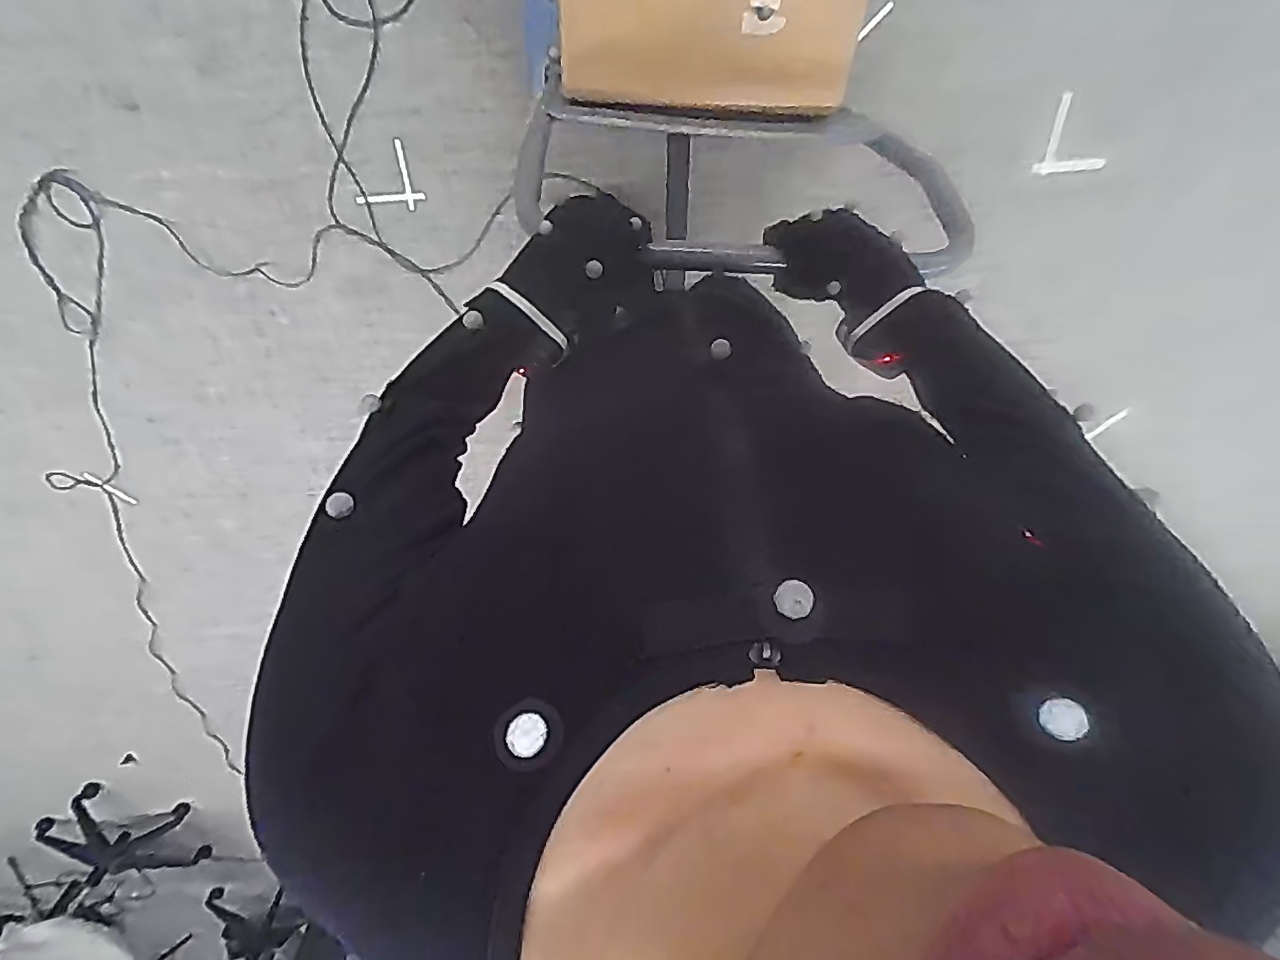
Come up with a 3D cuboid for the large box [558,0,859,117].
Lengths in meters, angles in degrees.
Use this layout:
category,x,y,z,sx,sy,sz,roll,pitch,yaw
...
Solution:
category,x,y,z,sx,sy,sz,roll,pitch,yaw
large box,0.082,-0.744,0.794,0.408,0.320,0.320,0,131,-5
